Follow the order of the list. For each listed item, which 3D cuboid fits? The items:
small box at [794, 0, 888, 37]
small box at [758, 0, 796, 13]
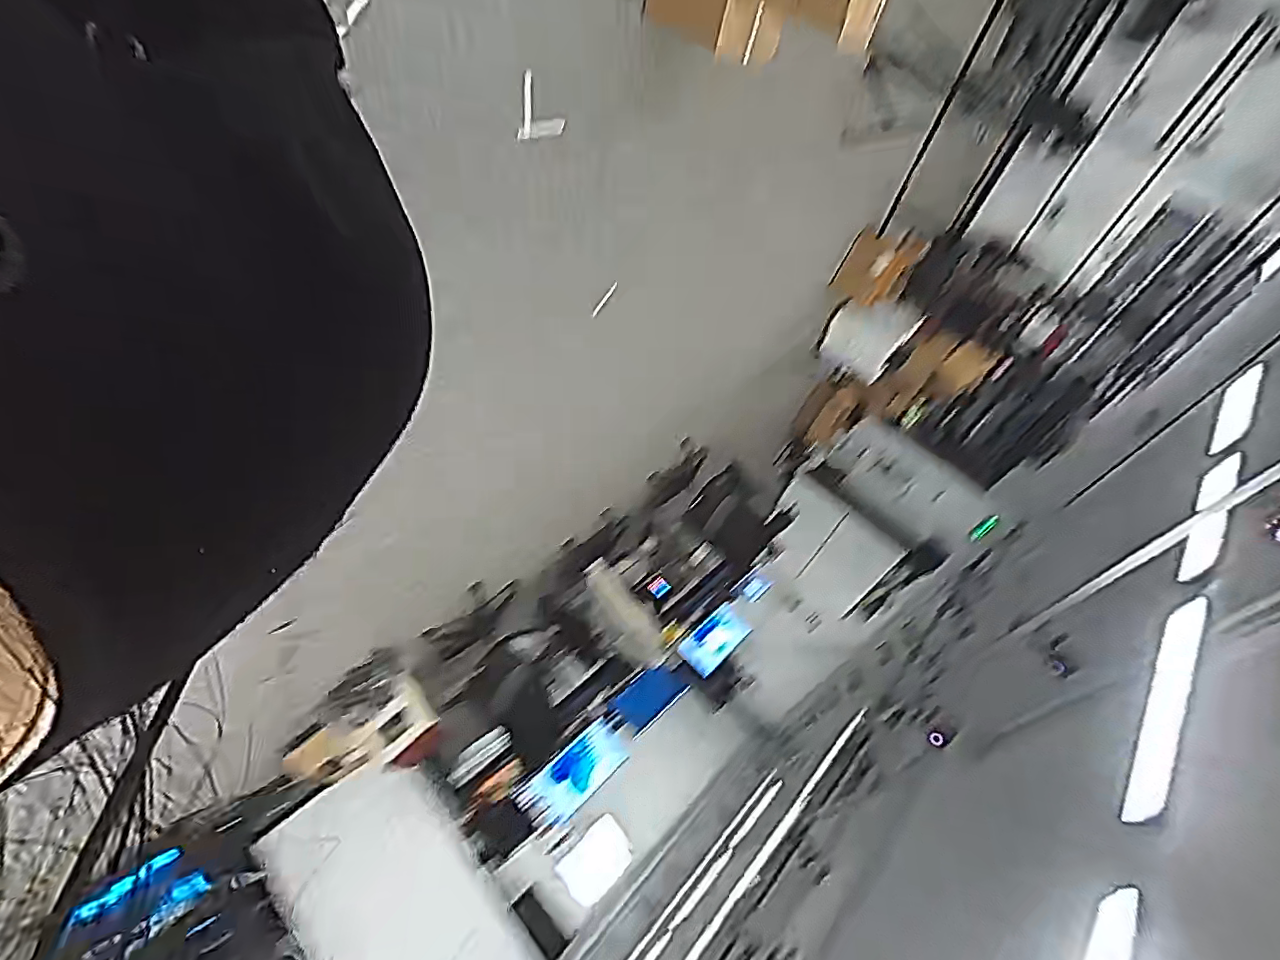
[{"bbox_3d":[0.524,-1.258,1.371,0.179,0.176,0.168,-29,152,-35],"label":"small box"},{"bbox_3d":[0.404,-1.355,1.428,0.179,0.176,0.168,-29,151,-39],"label":"small box"}]
